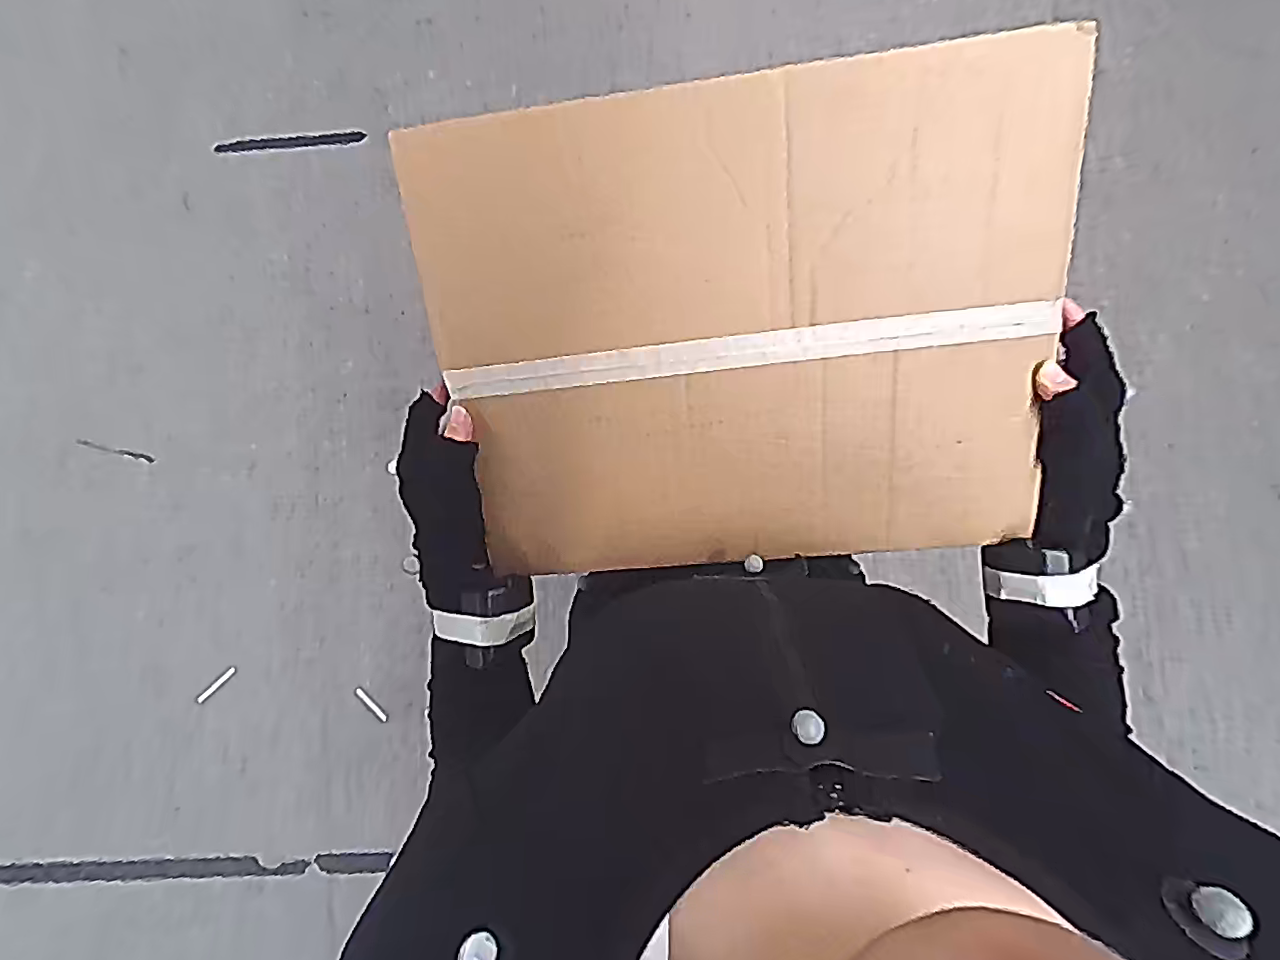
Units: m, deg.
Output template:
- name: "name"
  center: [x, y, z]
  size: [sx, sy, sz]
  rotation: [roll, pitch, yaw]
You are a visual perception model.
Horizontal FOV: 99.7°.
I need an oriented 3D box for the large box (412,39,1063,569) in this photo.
- name: "large box"
  center: [0.074, -0.138, 0.517]
  size: [0.408, 0.320, 0.320]
  rotation: [-5, 111, 6]
